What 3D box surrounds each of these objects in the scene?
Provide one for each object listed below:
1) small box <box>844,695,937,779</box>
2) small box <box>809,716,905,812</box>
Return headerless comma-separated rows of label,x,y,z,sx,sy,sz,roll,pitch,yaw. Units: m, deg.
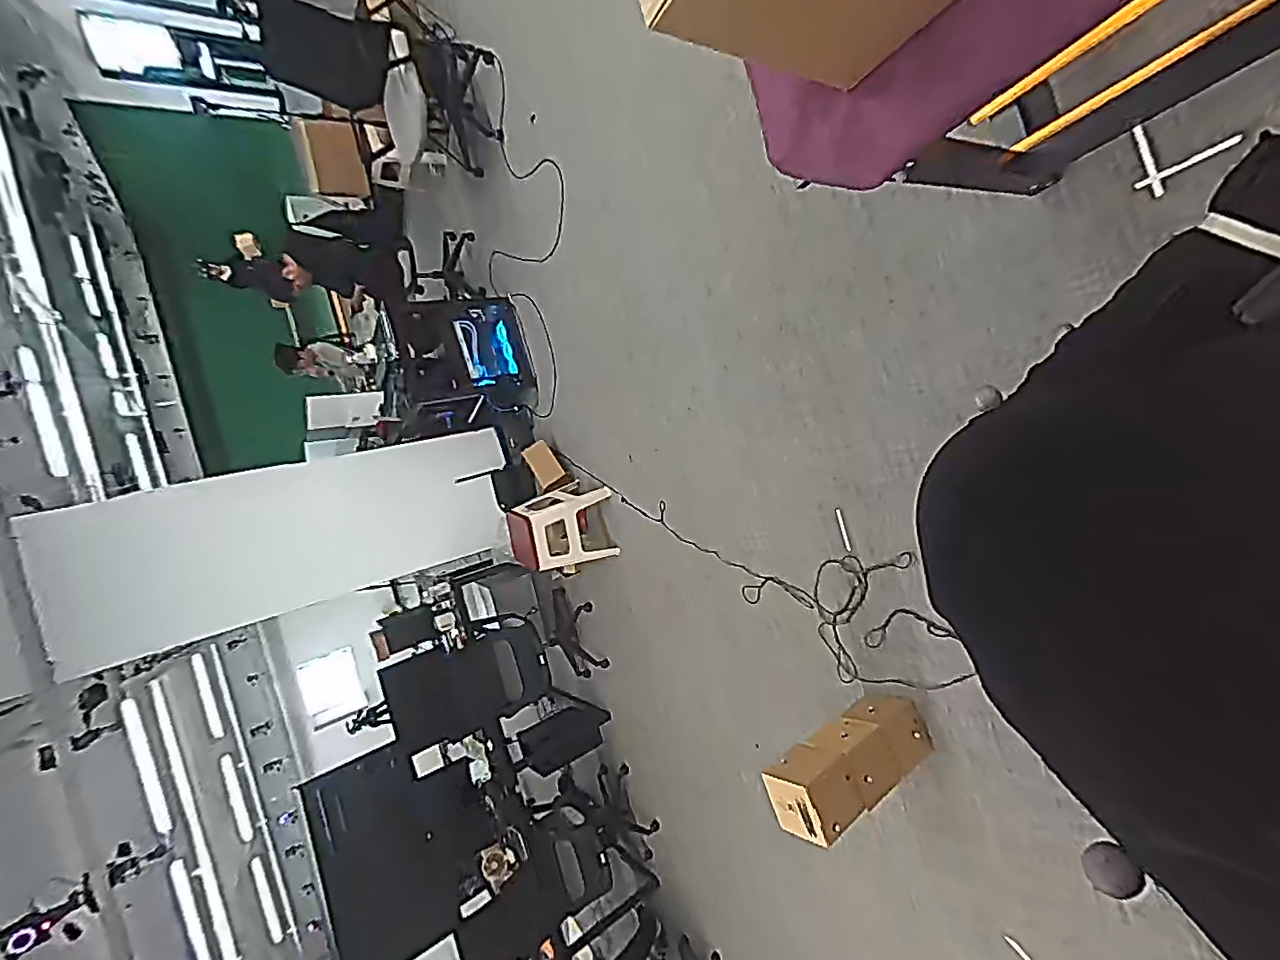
small box,0.768,0.780,1.662,0.179,0.176,0.168,-28,81,57
small box,0.634,0.817,1.578,0.168,0.176,0.179,-25,84,58
